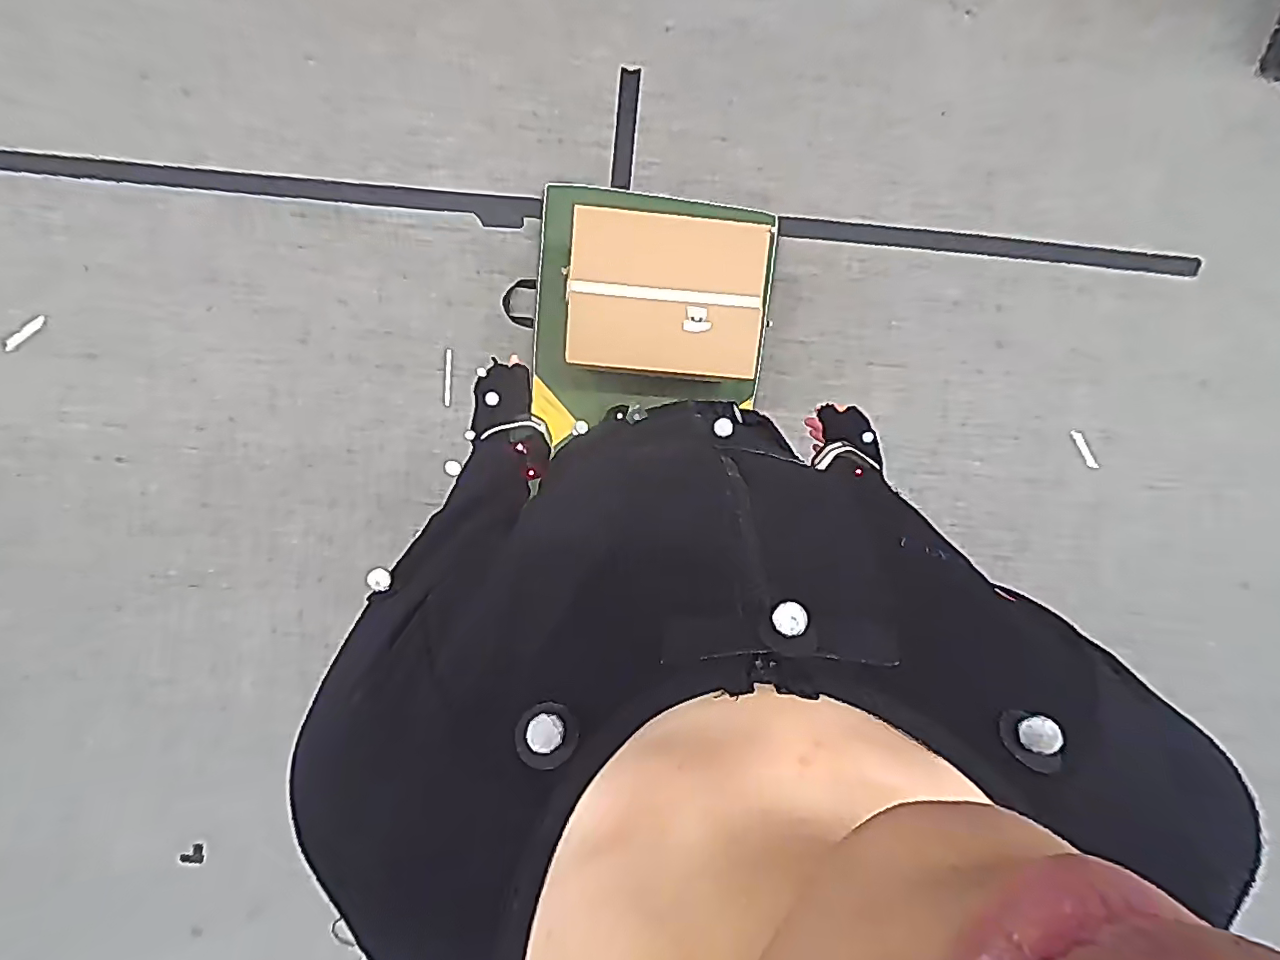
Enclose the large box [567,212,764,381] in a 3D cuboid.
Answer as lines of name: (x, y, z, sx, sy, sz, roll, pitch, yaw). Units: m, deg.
large box: (0.041, -0.406, 1.279, 0.408, 0.320, 0.320, 4, 99, -4)
